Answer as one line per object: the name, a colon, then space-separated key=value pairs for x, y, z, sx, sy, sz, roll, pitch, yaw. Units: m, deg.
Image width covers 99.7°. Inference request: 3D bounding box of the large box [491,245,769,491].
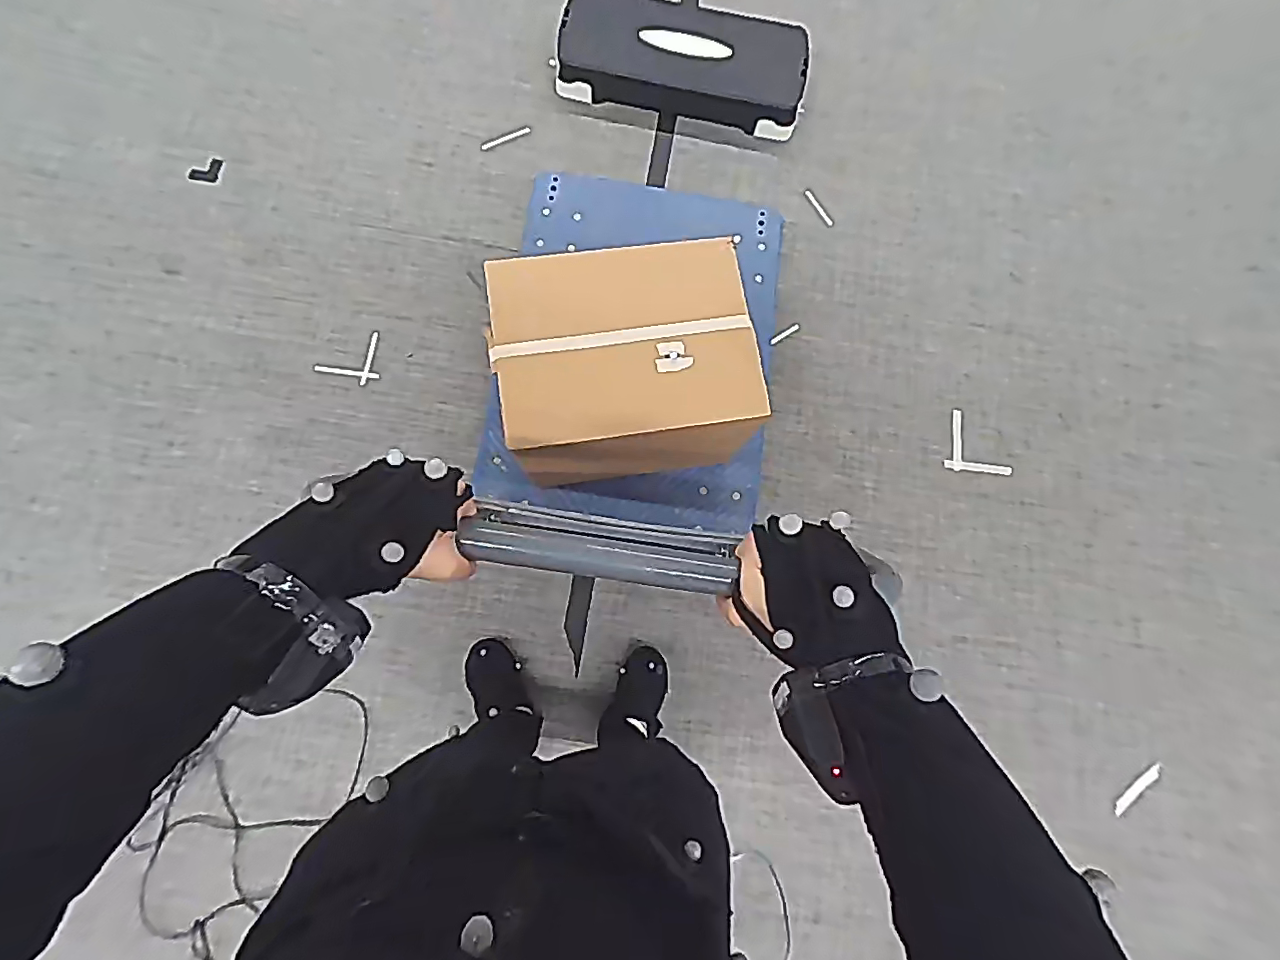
large box: x=-0.030 y=-0.183 z=0.992 sx=0.408 sy=0.320 sz=0.320 roll=-8 pitch=80 yaw=-7
